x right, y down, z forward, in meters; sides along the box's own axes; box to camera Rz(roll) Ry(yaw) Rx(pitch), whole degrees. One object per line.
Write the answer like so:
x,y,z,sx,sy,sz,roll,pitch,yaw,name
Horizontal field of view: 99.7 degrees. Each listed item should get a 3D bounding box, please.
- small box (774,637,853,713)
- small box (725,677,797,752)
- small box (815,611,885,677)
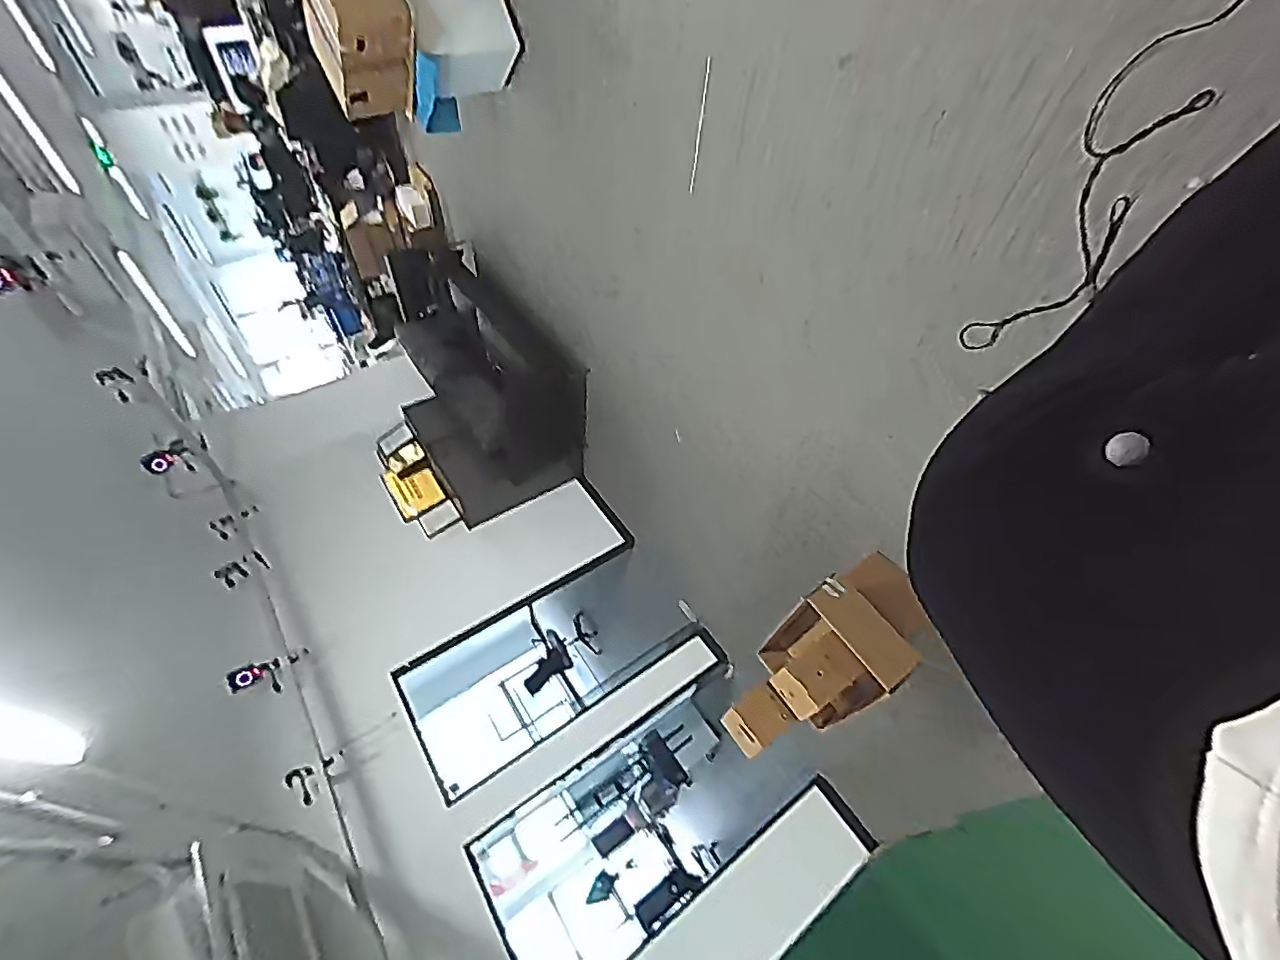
0.600,0.668,1.861,0.168,0.176,0.179,52,154,25,small box
0.444,0.852,1.974,0.168,0.176,0.179,50,151,28,small box
0.733,0.600,1.925,0.168,0.176,0.179,51,155,24,small box
